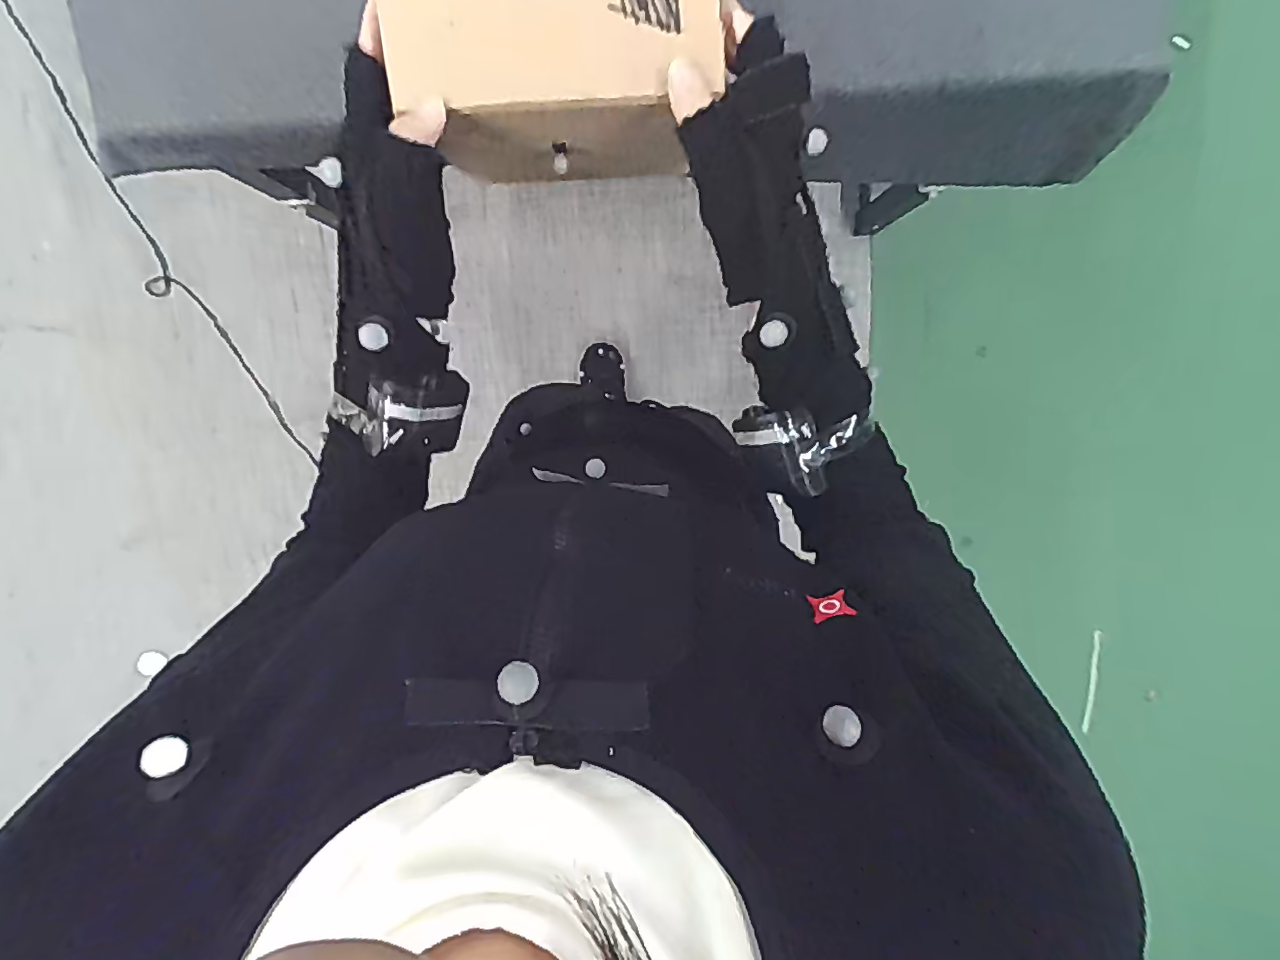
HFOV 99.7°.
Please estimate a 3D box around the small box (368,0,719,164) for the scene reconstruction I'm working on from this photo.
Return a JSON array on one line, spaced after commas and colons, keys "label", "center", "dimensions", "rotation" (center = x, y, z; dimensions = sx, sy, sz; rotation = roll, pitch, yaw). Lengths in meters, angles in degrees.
[{"label": "small box", "center": [-0.051, -0.306, 0.328], "dimensions": [0.179, 0.176, 0.168], "rotation": [-3, 108, 1]}]
